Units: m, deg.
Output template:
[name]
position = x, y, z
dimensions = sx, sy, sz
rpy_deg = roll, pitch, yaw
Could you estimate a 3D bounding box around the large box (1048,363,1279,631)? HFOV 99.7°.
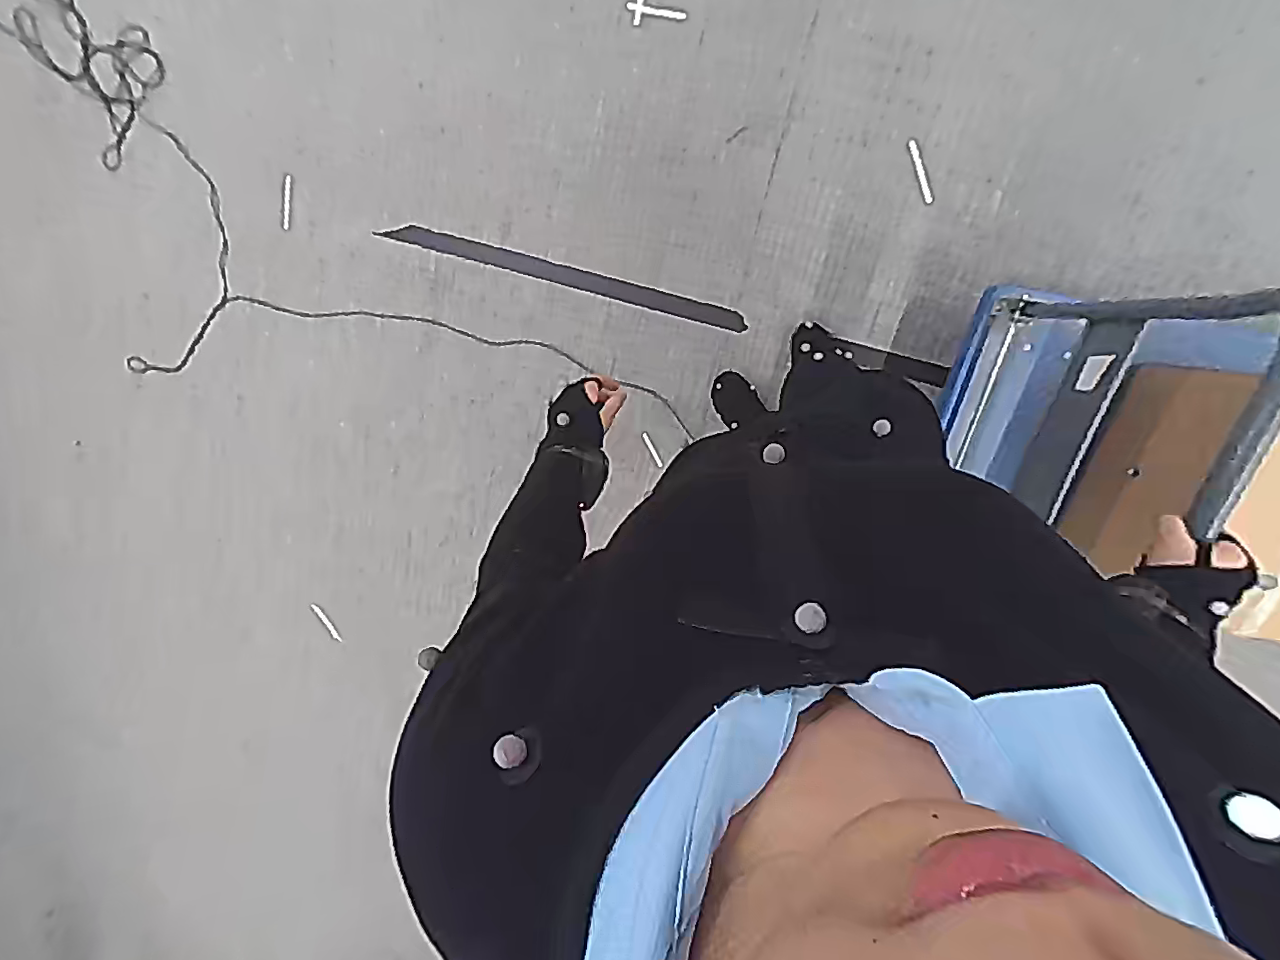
[large box]
position = 1.078, 0.016, 1.016
dimensions = 0.320, 0.320, 0.408
rpy_deg = 15, 107, 6
